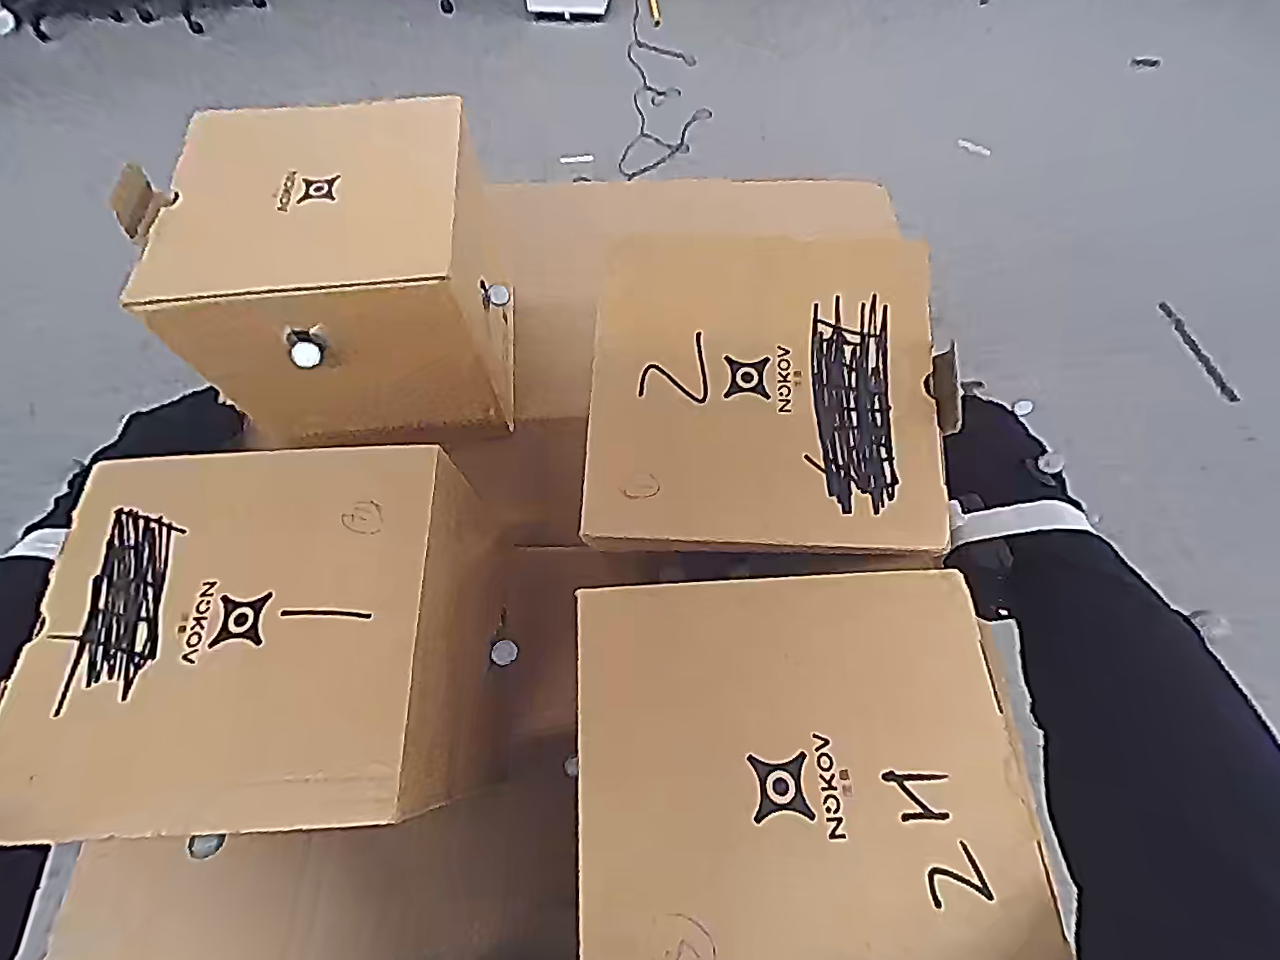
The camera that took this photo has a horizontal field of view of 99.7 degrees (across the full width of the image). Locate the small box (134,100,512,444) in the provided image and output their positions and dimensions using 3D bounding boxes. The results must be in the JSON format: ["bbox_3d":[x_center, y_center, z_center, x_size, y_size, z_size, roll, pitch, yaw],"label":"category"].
[{"bbox_3d":[-0.197,-0.141,0.403,0.179,0.176,0.168,-6,64,-1],"label":"small box"}]
